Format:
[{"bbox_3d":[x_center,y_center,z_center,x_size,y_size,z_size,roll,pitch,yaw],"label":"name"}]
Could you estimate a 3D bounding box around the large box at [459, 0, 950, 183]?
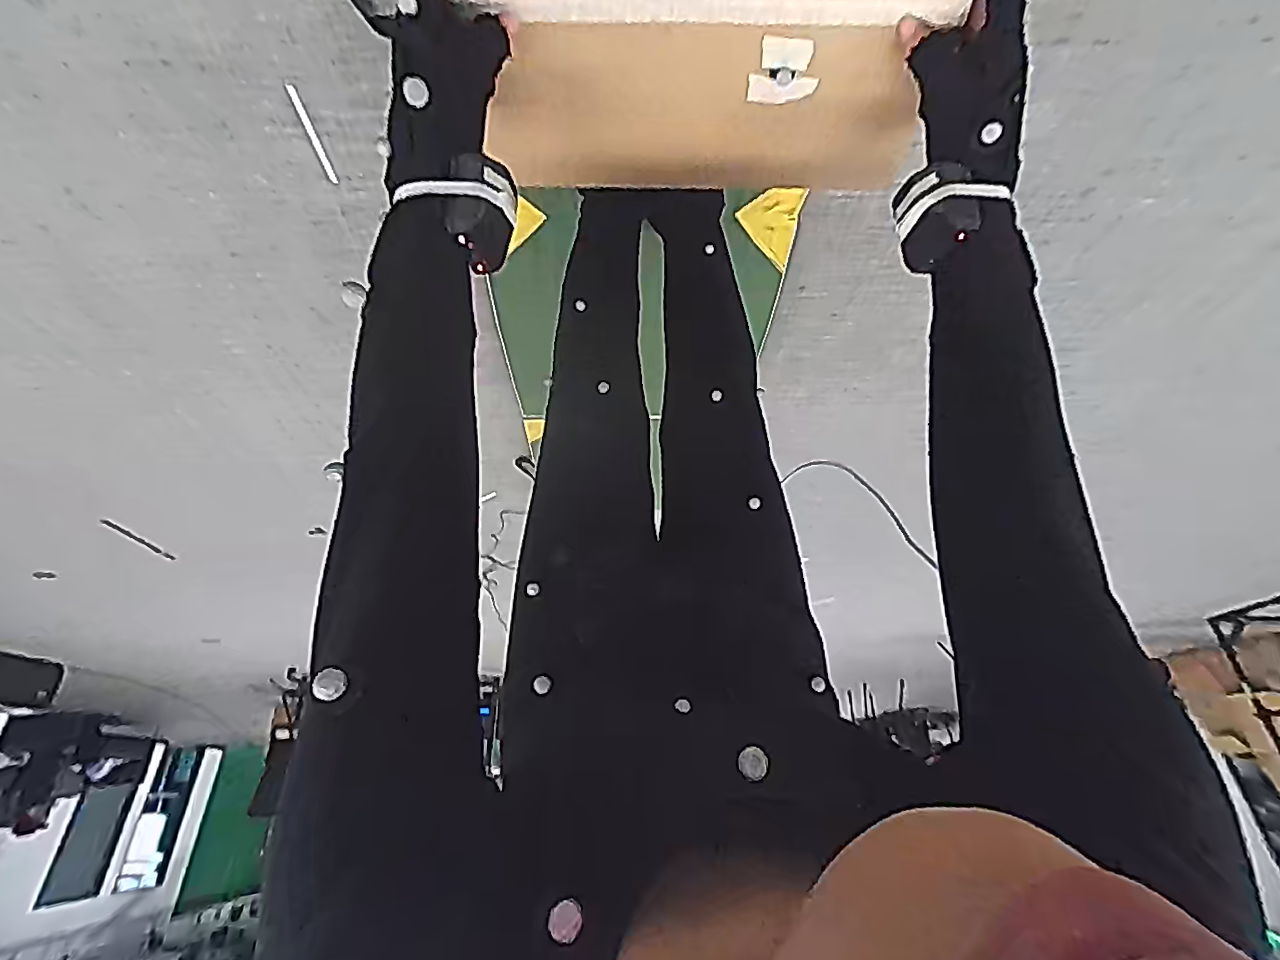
[{"bbox_3d":[0.046,-0.516,0.497,0.408,0.320,0.320,-2,153,-2],"label":"large box"}]
